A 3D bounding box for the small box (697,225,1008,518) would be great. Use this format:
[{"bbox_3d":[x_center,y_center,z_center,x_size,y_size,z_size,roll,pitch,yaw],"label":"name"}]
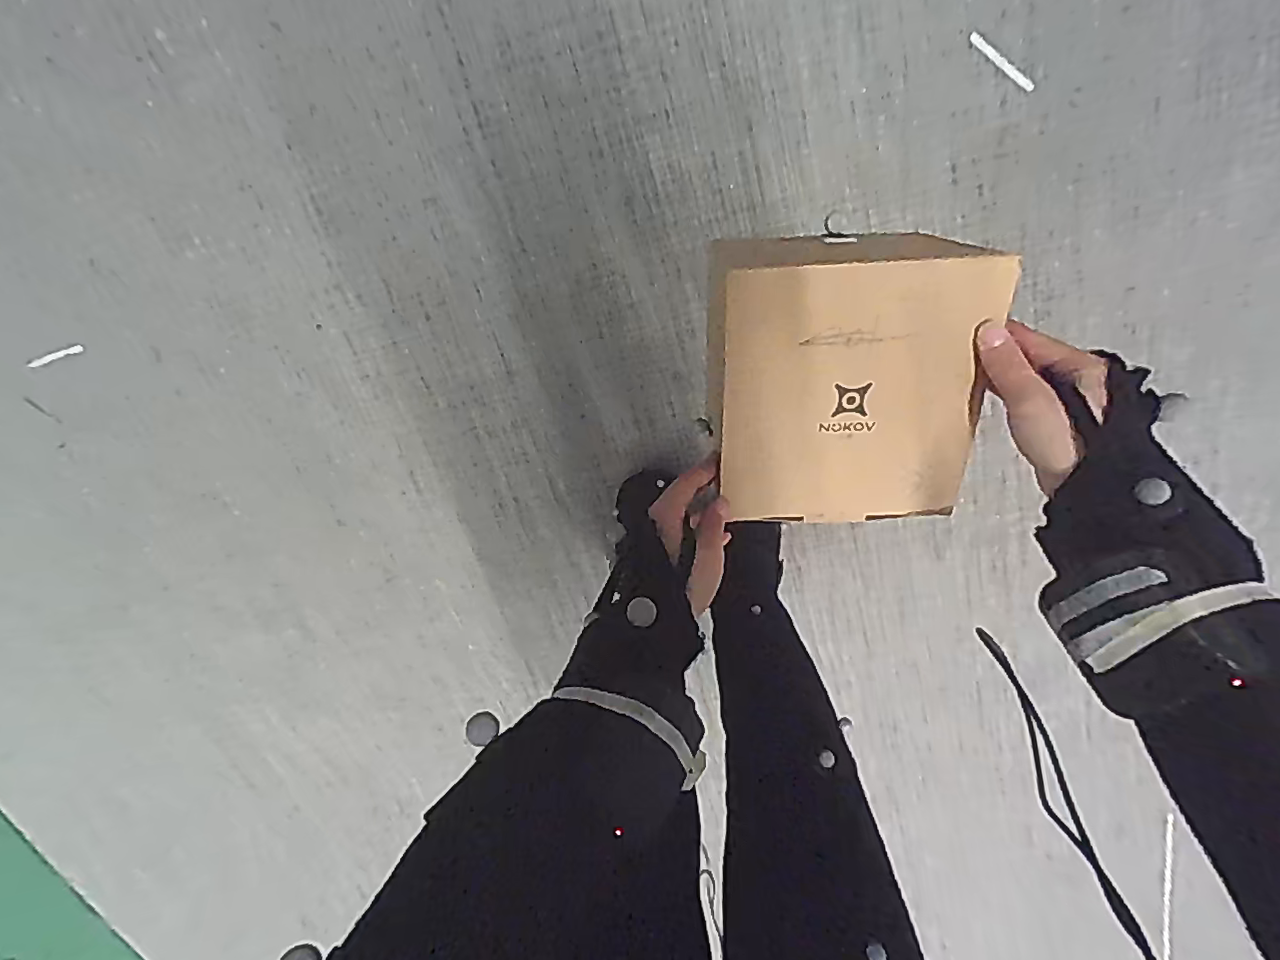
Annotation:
[{"bbox_3d":[0.133,-0.089,0.416,0.168,0.176,0.179,-3,119,3],"label":"small box"}]
